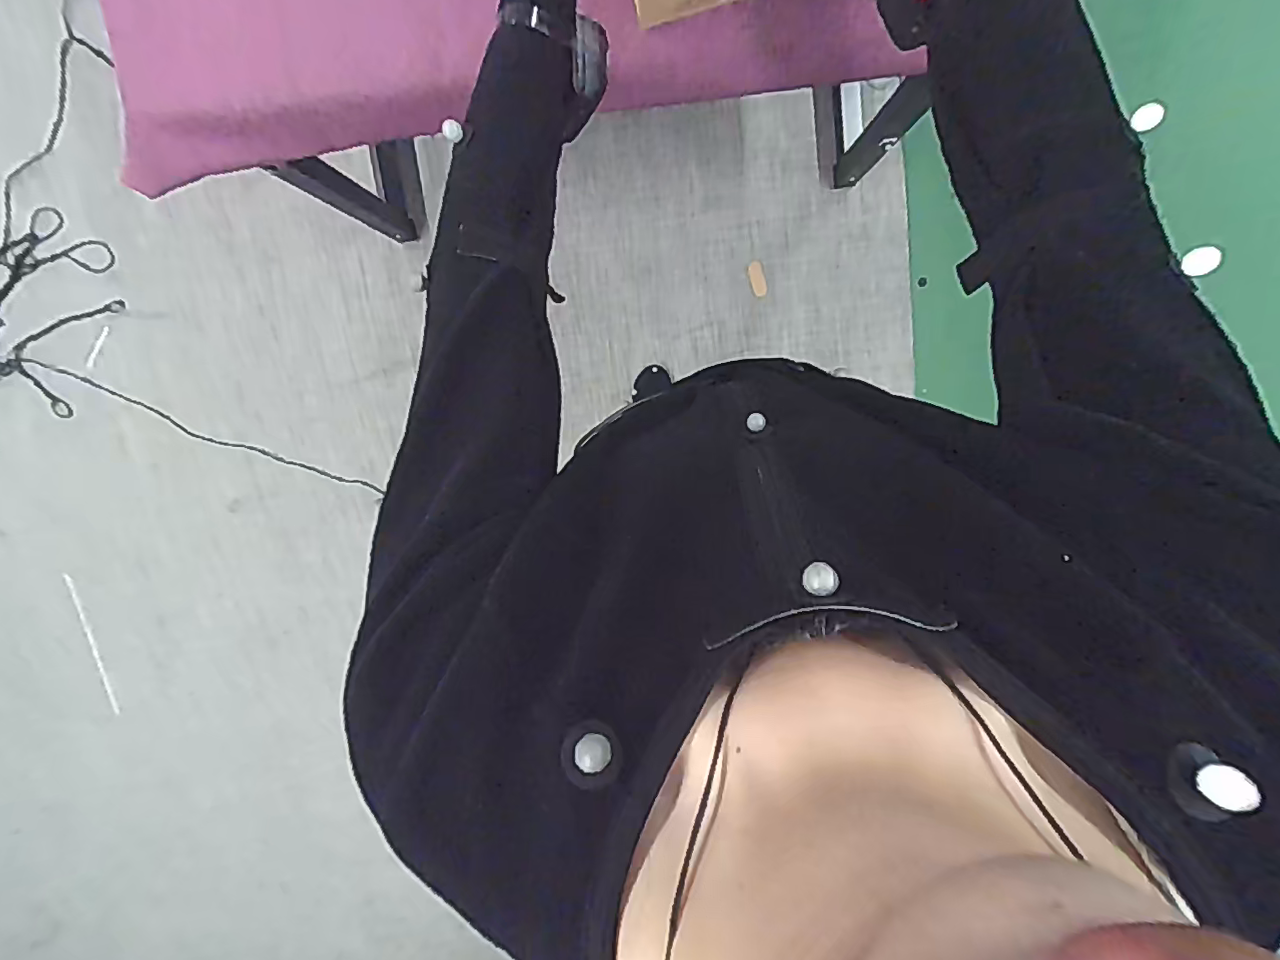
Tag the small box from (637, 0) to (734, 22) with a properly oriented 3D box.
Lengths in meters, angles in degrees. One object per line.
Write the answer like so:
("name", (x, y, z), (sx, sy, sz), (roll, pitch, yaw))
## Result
("small box", (0.058, -0.650, 0.571), (0.168, 0.176, 0.179), (-12, 99, 5))
